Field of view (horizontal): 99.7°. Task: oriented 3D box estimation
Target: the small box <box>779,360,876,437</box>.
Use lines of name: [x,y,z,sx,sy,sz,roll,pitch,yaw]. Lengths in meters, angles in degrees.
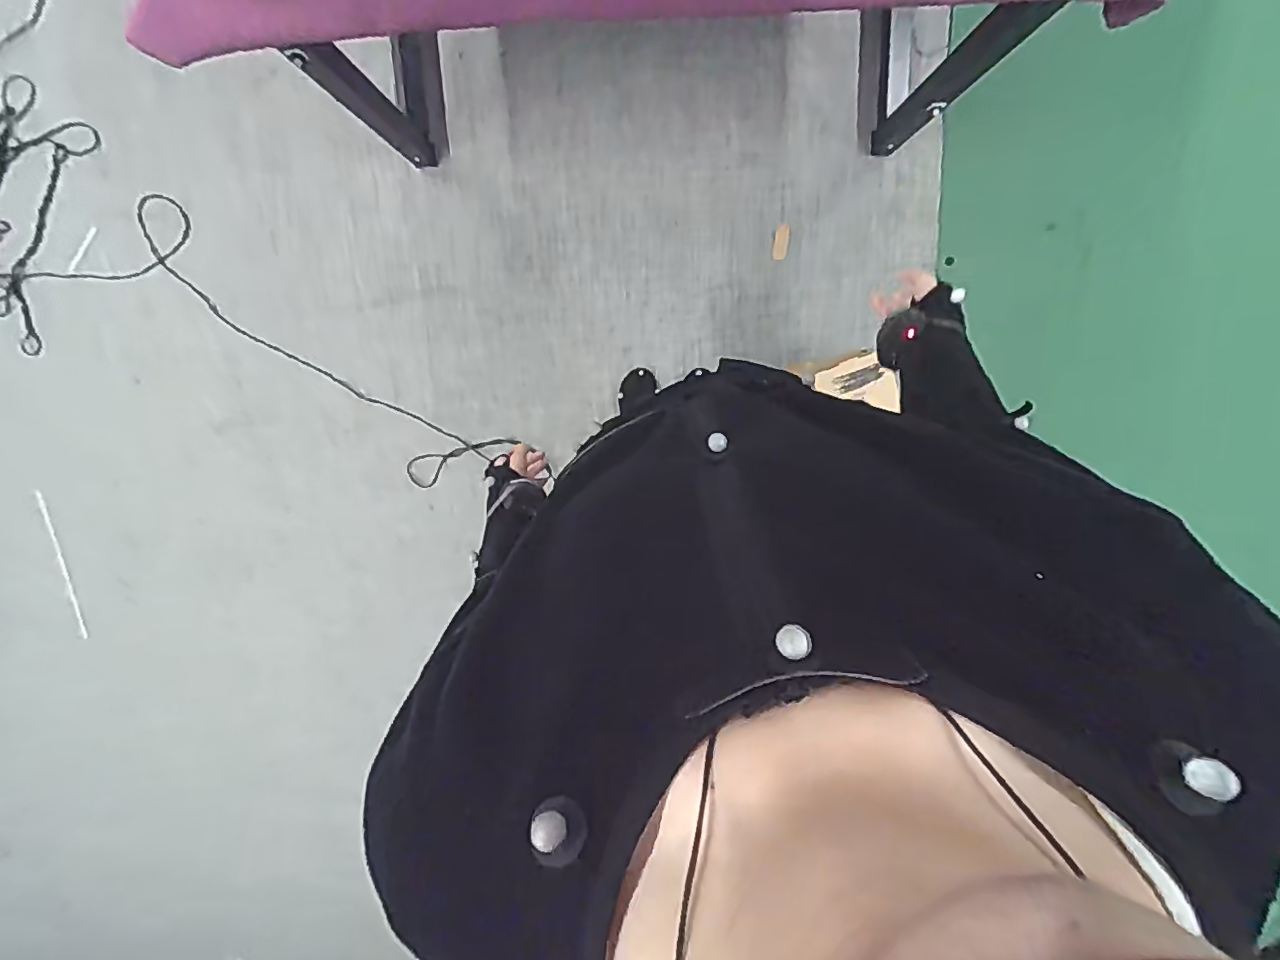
small box: [0.469,-0.211,1.387,0.179,0.176,0.168,8,103,-1]
